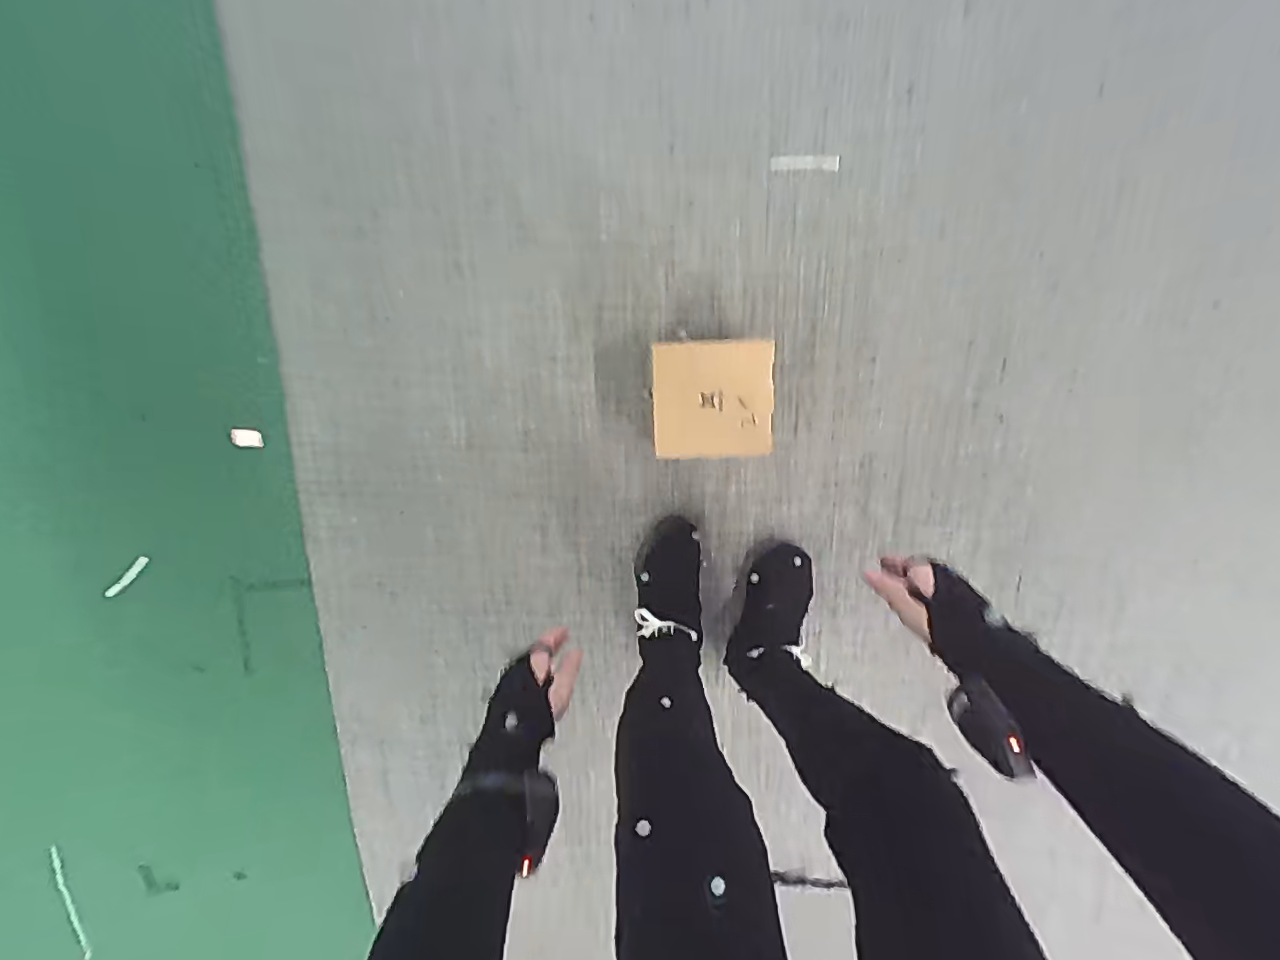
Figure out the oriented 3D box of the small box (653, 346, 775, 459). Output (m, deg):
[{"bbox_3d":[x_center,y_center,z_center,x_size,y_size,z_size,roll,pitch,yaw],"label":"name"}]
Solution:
[{"bbox_3d":[0.110,-0.128,0.873,0.179,0.176,0.168,-2,103,0],"label":"small box"}]
